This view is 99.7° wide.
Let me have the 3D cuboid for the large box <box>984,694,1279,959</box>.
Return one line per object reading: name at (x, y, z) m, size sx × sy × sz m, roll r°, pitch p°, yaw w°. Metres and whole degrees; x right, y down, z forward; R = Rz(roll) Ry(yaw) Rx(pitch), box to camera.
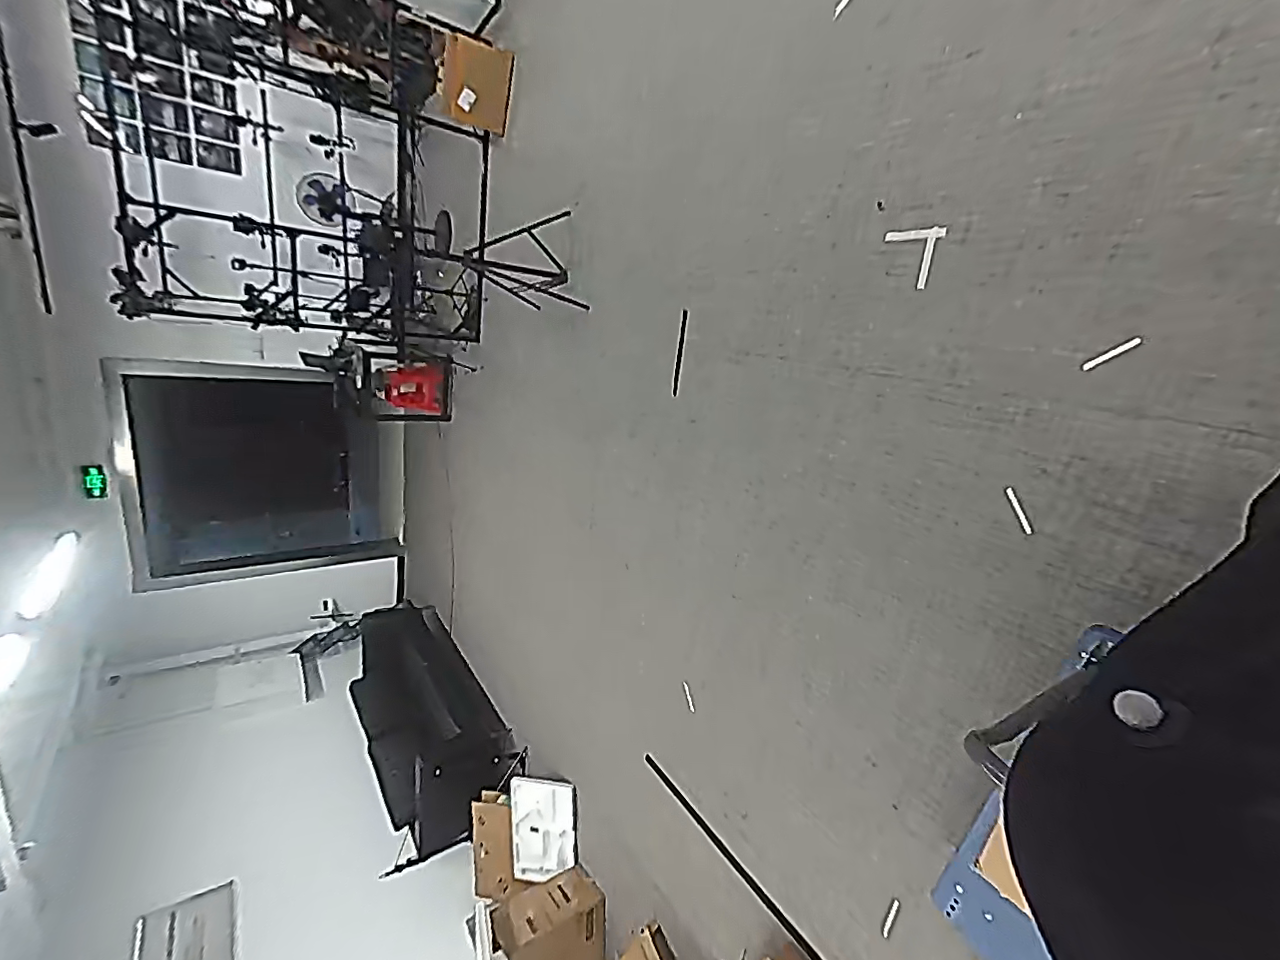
large box at (0.898, 0.641, 0.905) m, size 0.408 × 0.320 × 0.320 m, roll 30°, pitch 116°, yaw 50°
